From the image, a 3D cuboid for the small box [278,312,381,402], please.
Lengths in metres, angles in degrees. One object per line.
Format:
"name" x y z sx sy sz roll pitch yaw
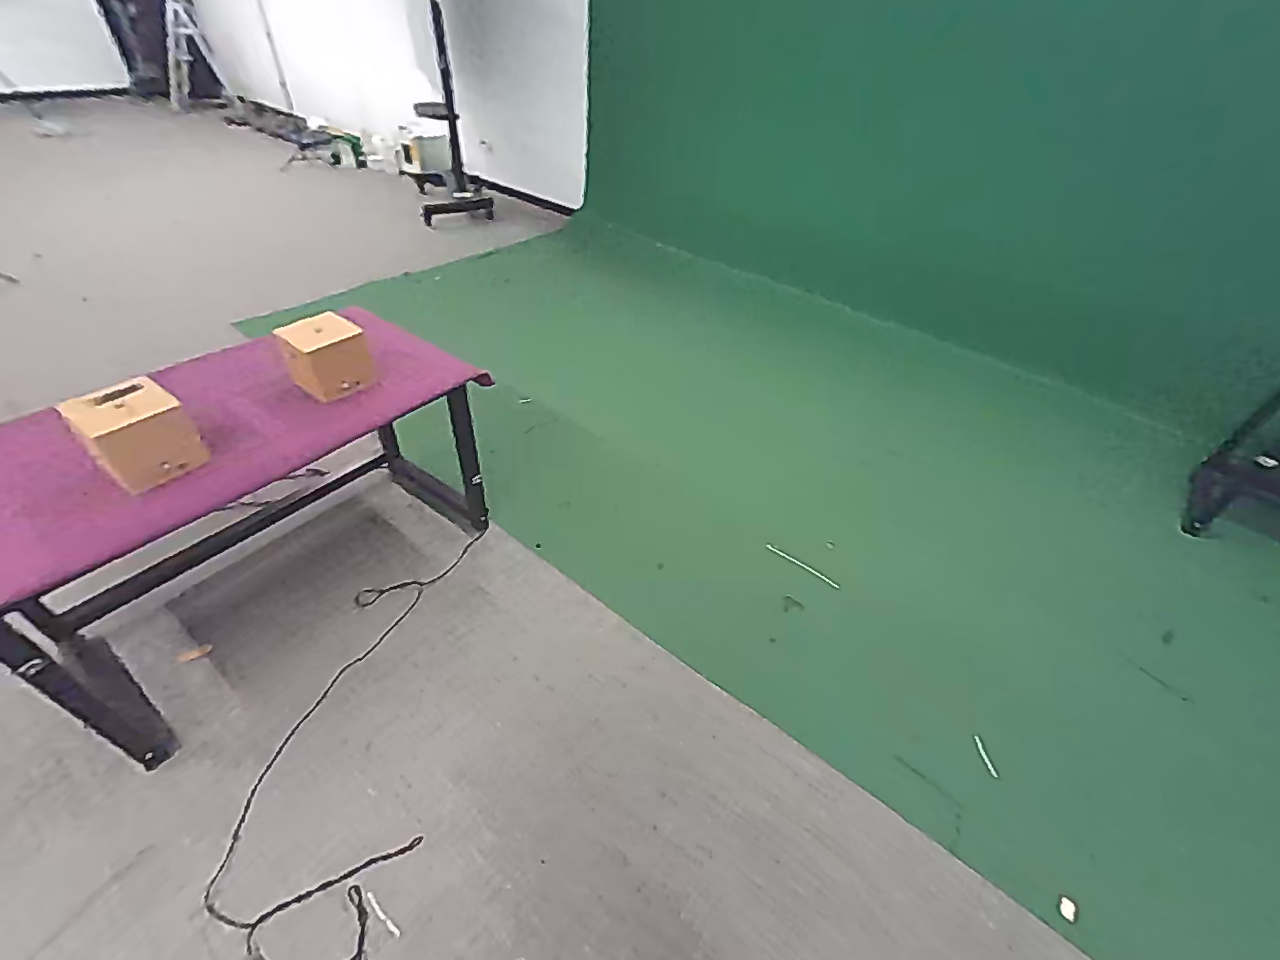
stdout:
"small box" -0.868 -0.345 1.522 0.179 0.176 0.168 30 50 26
